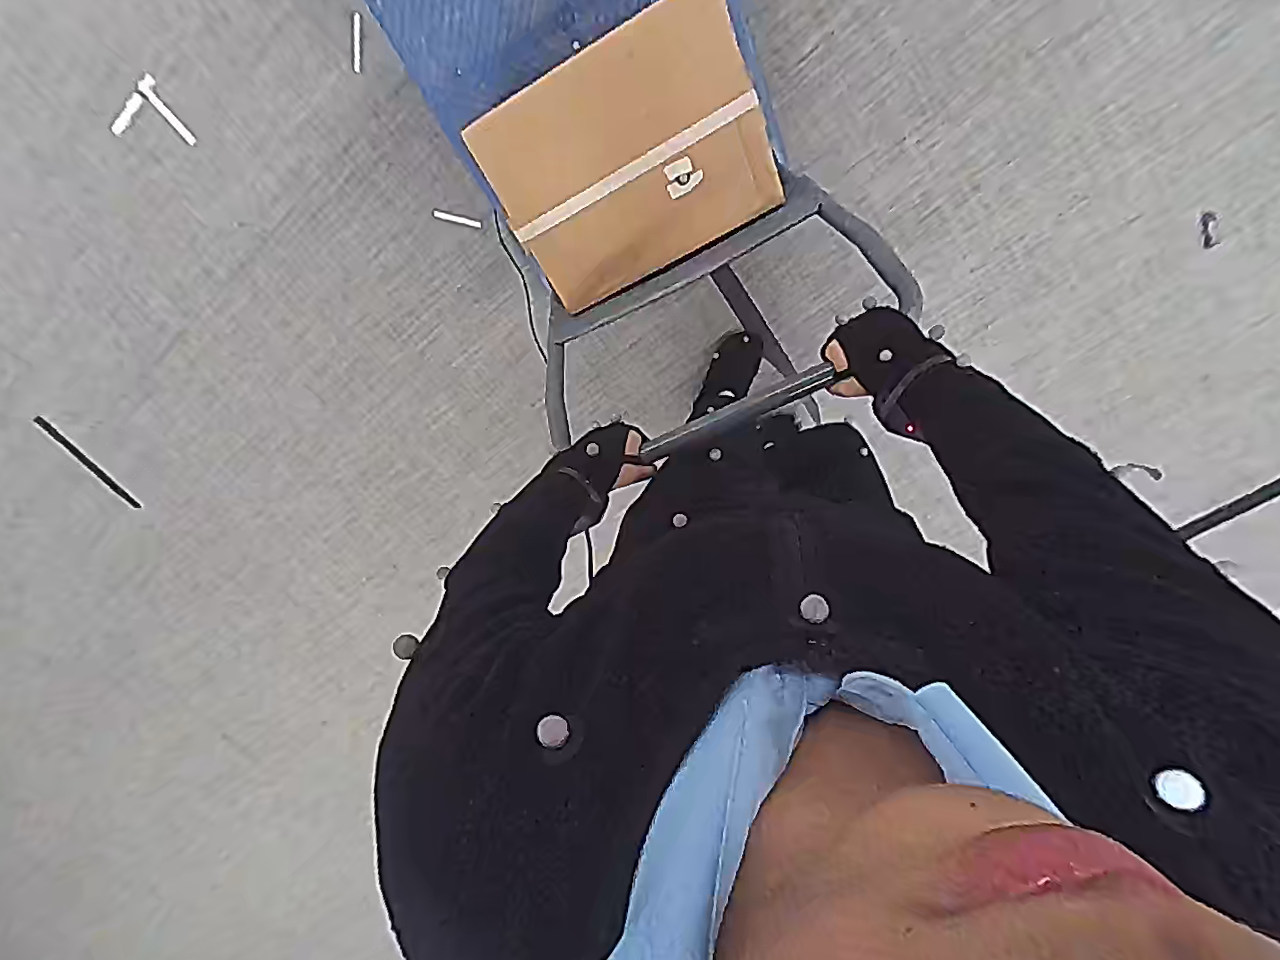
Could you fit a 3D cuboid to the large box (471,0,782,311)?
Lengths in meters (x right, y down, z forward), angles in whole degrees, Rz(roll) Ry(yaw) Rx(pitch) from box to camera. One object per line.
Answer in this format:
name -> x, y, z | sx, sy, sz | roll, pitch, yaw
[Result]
large box -> -0.024, -0.575, 0.959 | 0.408, 0.320, 0.320 | -25, 126, 13
